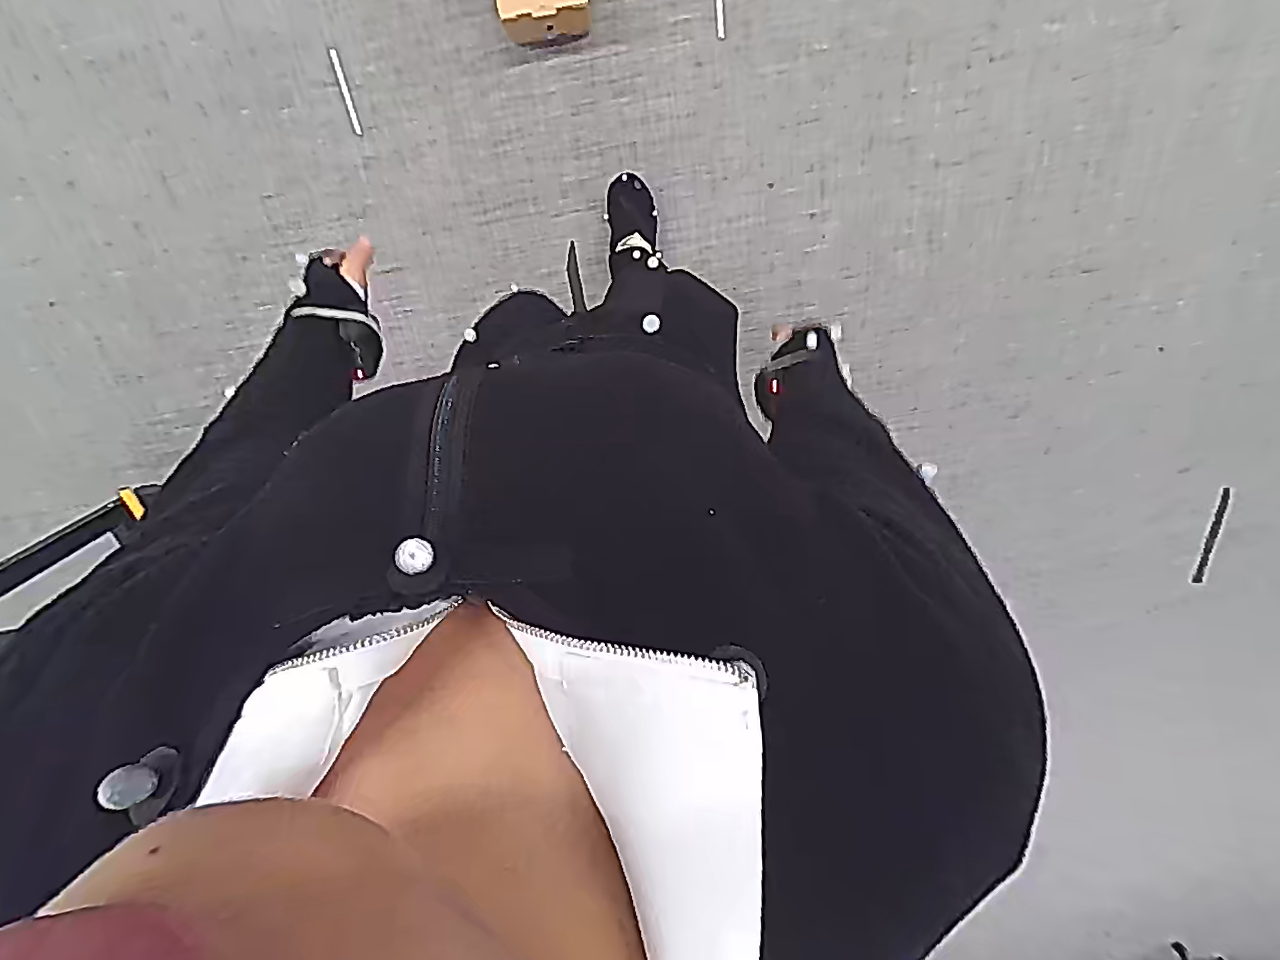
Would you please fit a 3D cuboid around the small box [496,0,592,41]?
[{"bbox_3d":[-0.184,-0.948,1.006,0.168,0.176,0.179,-7,117,2],"label":"small box"}]
